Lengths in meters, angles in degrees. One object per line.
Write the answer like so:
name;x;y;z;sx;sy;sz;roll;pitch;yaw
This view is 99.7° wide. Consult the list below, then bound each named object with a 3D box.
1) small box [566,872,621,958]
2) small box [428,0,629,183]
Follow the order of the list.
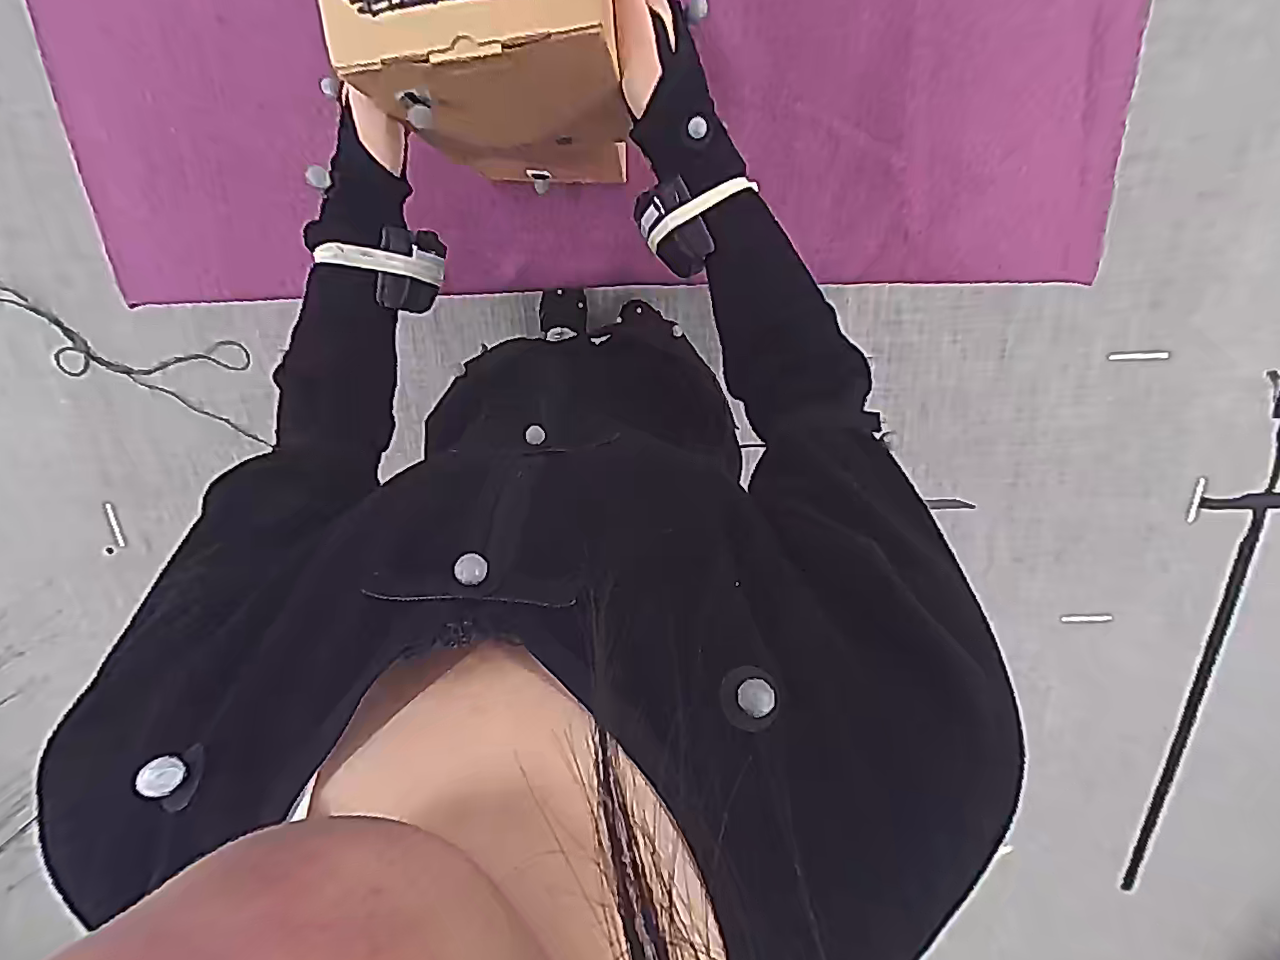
small box;-0.160;1.539;1.917;0.168;0.176;0.179;-8;109;1
small box;-0.097;-0.411;0.534;0.168;0.176;0.179;1;109;1
